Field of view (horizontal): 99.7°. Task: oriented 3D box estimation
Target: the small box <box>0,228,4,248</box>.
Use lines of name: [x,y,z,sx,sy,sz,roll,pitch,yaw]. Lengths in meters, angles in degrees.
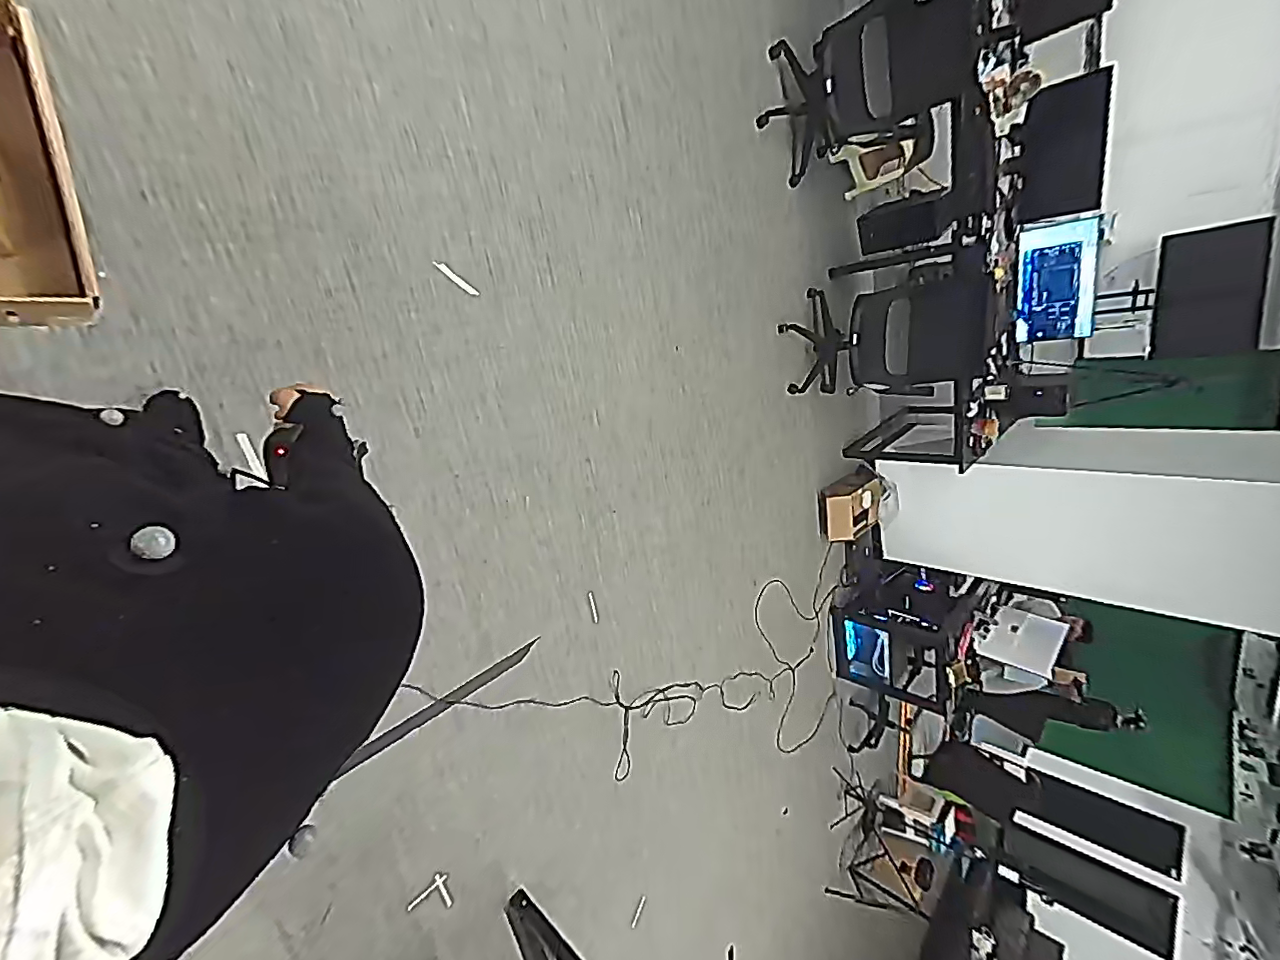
small box: [-0.949,-0.394,0.671,0.168,0.176,0.179,-18,107,-41]
